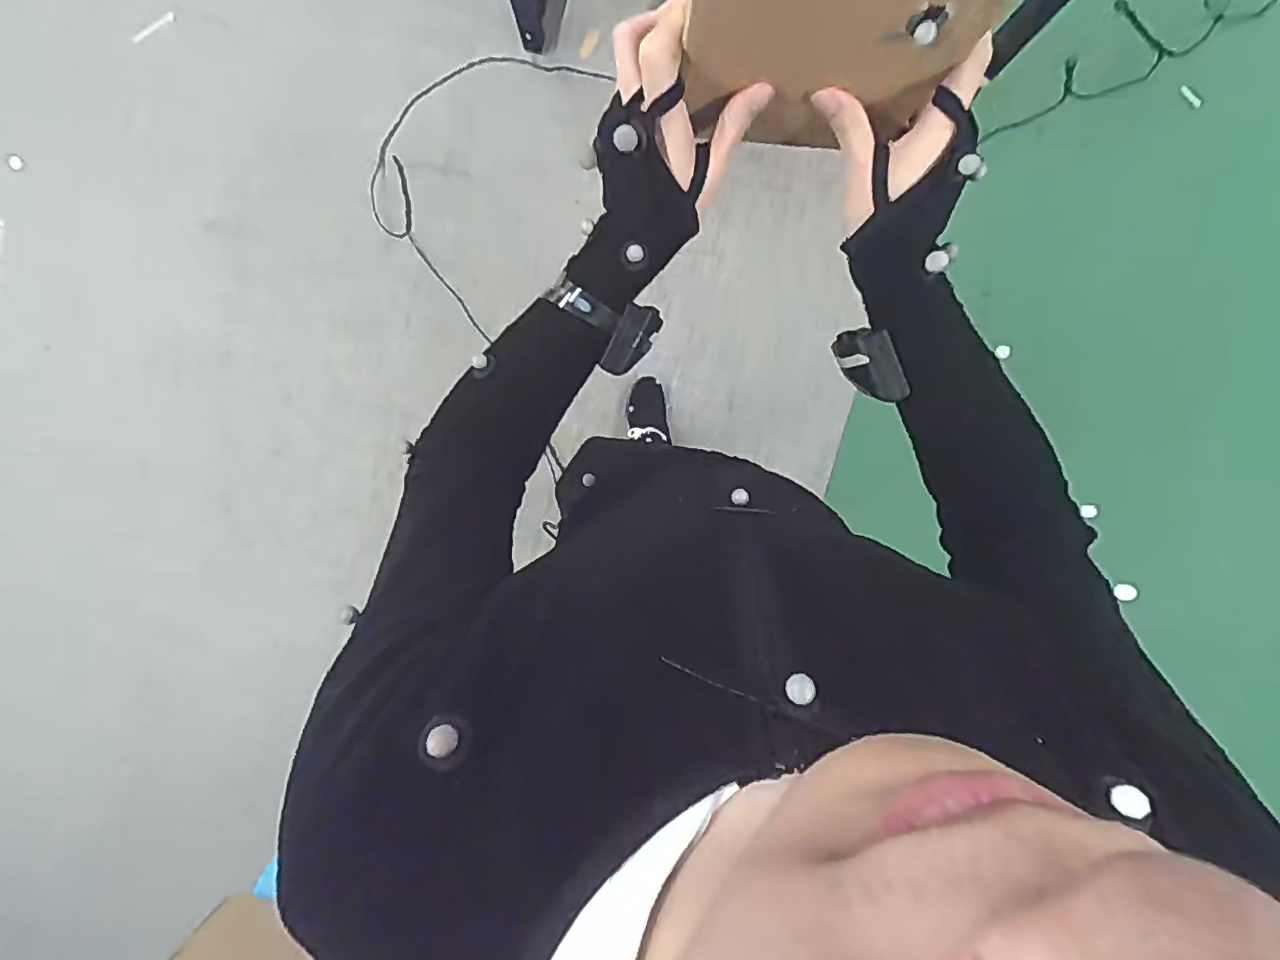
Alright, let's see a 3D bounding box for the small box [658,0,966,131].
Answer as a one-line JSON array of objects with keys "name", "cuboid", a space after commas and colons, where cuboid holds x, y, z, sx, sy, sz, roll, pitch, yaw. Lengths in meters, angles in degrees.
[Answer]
[{"name": "small box", "cuboid": [0.105, -0.346, 0.330, 0.179, 0.176, 0.168, 3, 94, -3]}]
